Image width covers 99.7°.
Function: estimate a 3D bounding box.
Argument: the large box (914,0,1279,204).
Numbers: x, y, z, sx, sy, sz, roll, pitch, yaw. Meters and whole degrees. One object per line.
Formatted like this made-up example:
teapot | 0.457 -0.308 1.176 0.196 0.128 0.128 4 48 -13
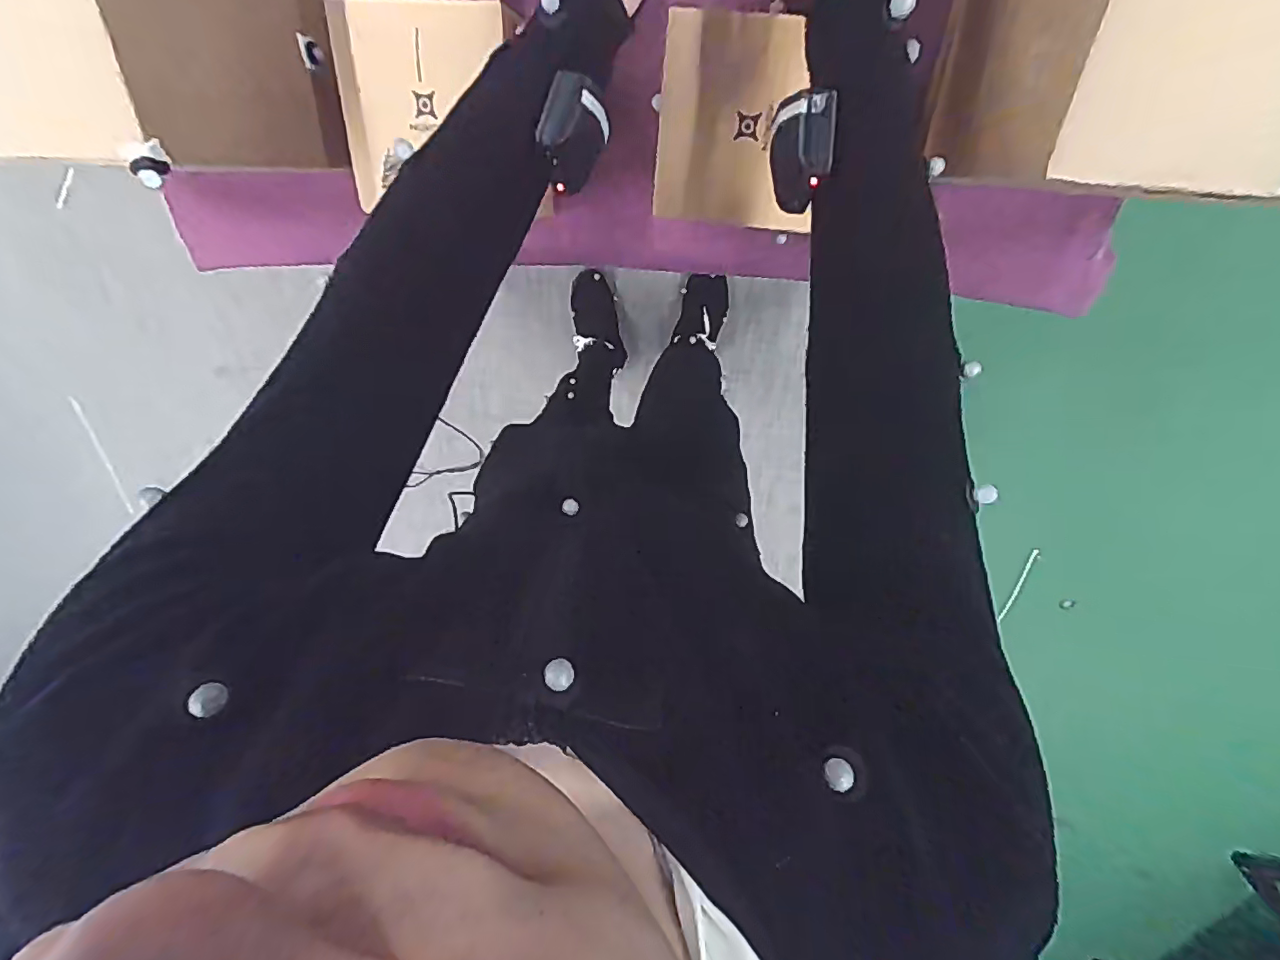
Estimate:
large box | 0.459 -0.438 0.396 0.320 0.320 0.408 7 121 5
